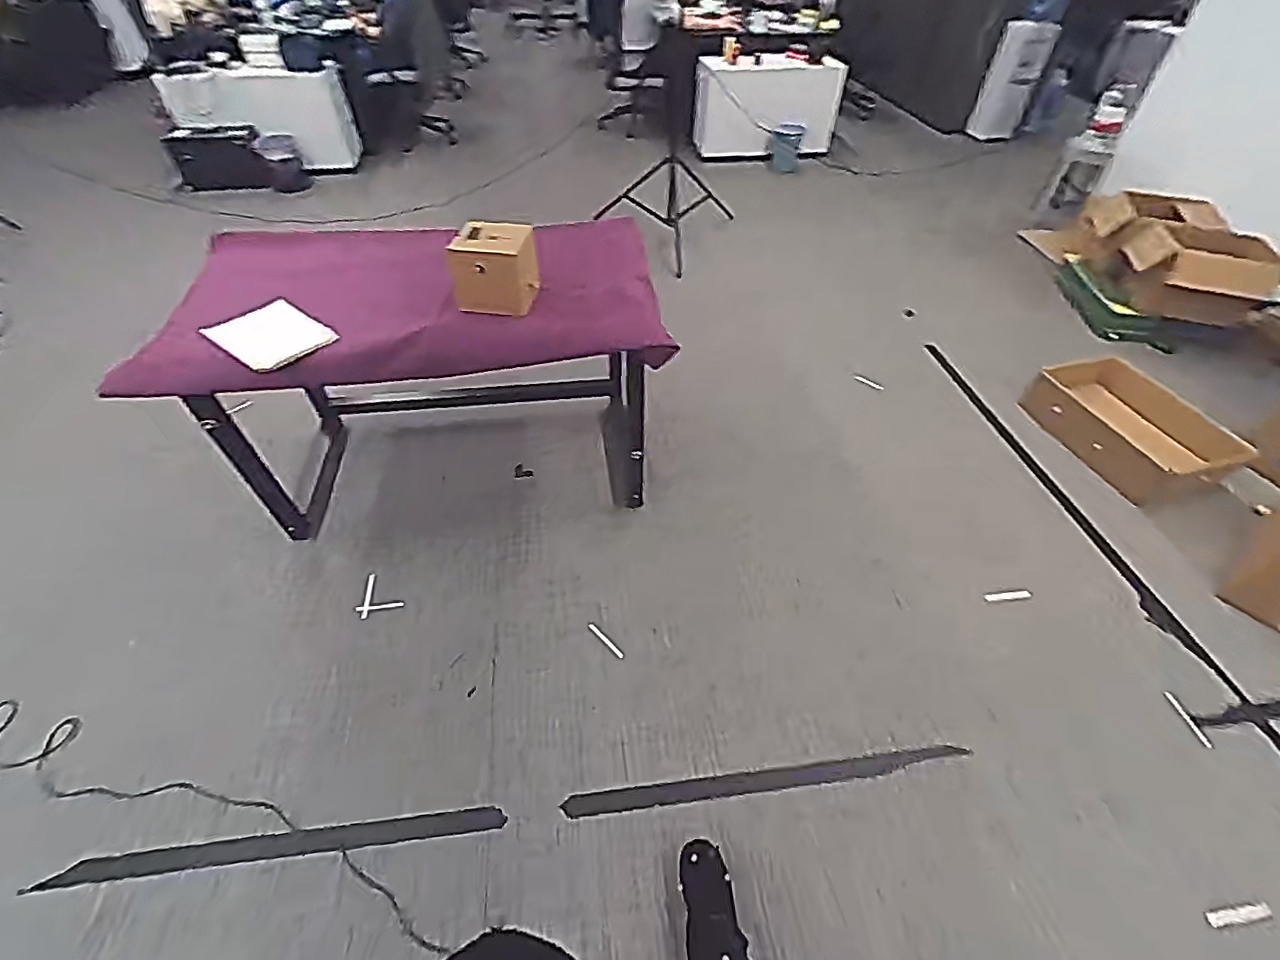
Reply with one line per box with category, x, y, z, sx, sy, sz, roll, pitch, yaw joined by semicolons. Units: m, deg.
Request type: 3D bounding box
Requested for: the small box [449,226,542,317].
small box;-0.368;-0.542;1.412;0.179;0.176;0.168;6;47;4
